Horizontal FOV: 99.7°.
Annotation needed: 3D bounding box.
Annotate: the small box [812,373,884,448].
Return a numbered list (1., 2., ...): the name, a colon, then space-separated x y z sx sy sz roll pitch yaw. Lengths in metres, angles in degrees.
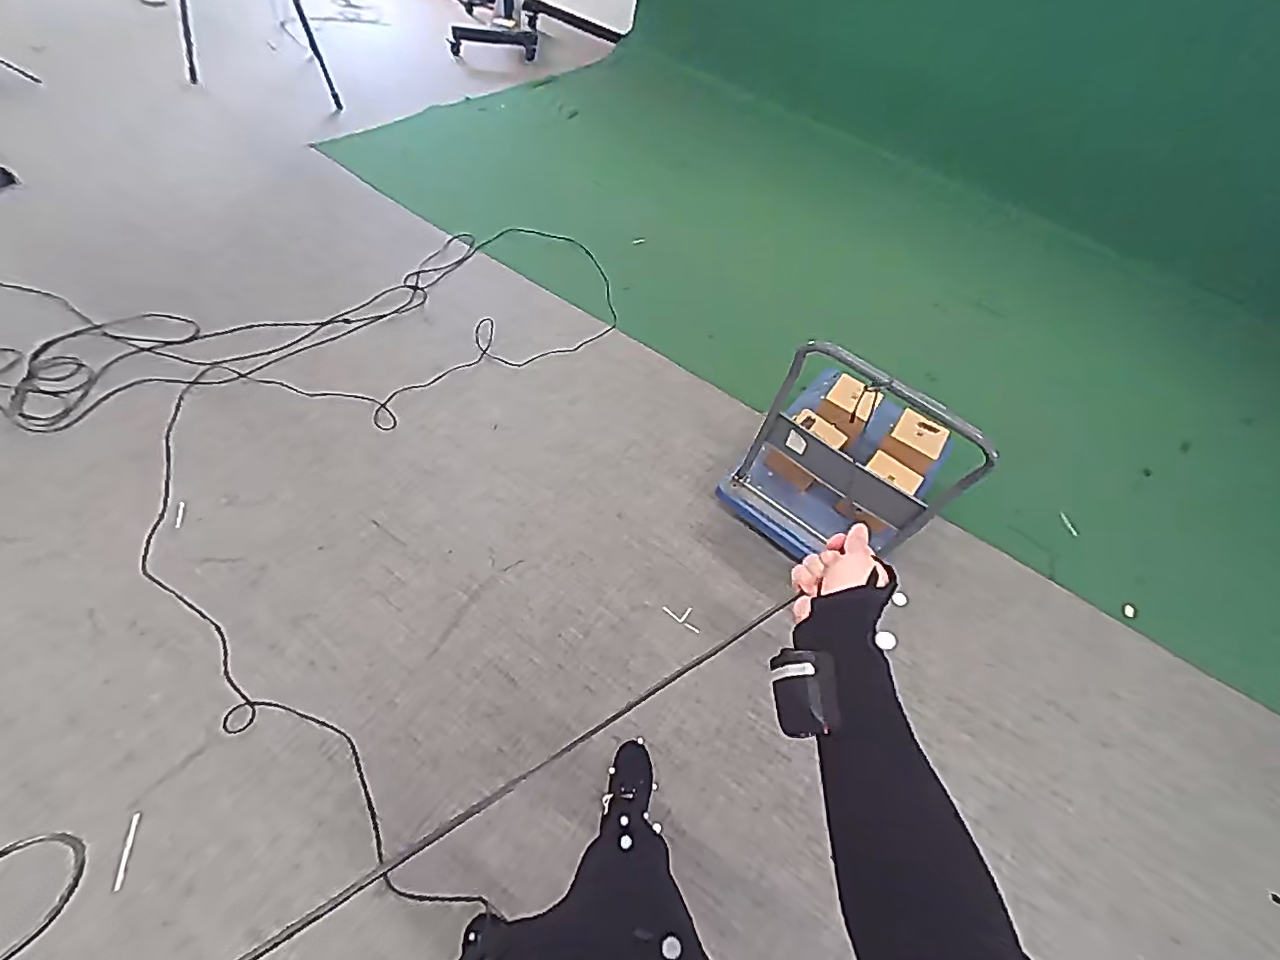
1. small box: 0.756 -0.249 1.982 0.168 0.176 0.179 34 56 14

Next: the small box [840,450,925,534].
1. small box: 0.790 0.042 1.781 0.168 0.176 0.179 38 58 17

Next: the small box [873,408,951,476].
1. small box: 0.960 -0.115 1.920 0.168 0.176 0.179 33 57 15
